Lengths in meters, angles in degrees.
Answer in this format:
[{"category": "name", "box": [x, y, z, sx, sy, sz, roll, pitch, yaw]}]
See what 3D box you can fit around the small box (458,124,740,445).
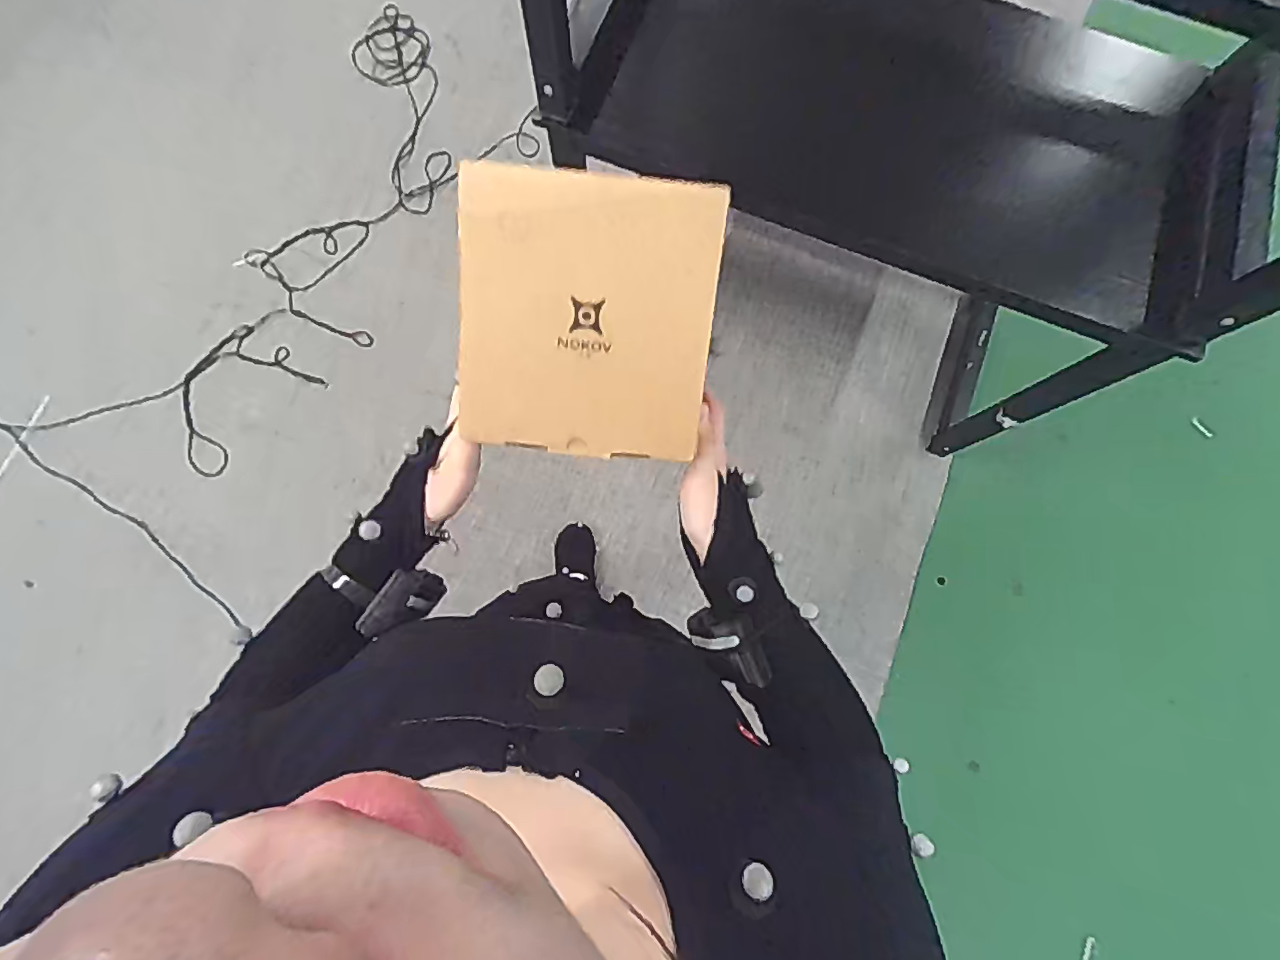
[{"category": "small box", "box": [-0.032, -0.138, 0.413, 0.168, 0.176, 0.179, 6, 109, -2]}]
